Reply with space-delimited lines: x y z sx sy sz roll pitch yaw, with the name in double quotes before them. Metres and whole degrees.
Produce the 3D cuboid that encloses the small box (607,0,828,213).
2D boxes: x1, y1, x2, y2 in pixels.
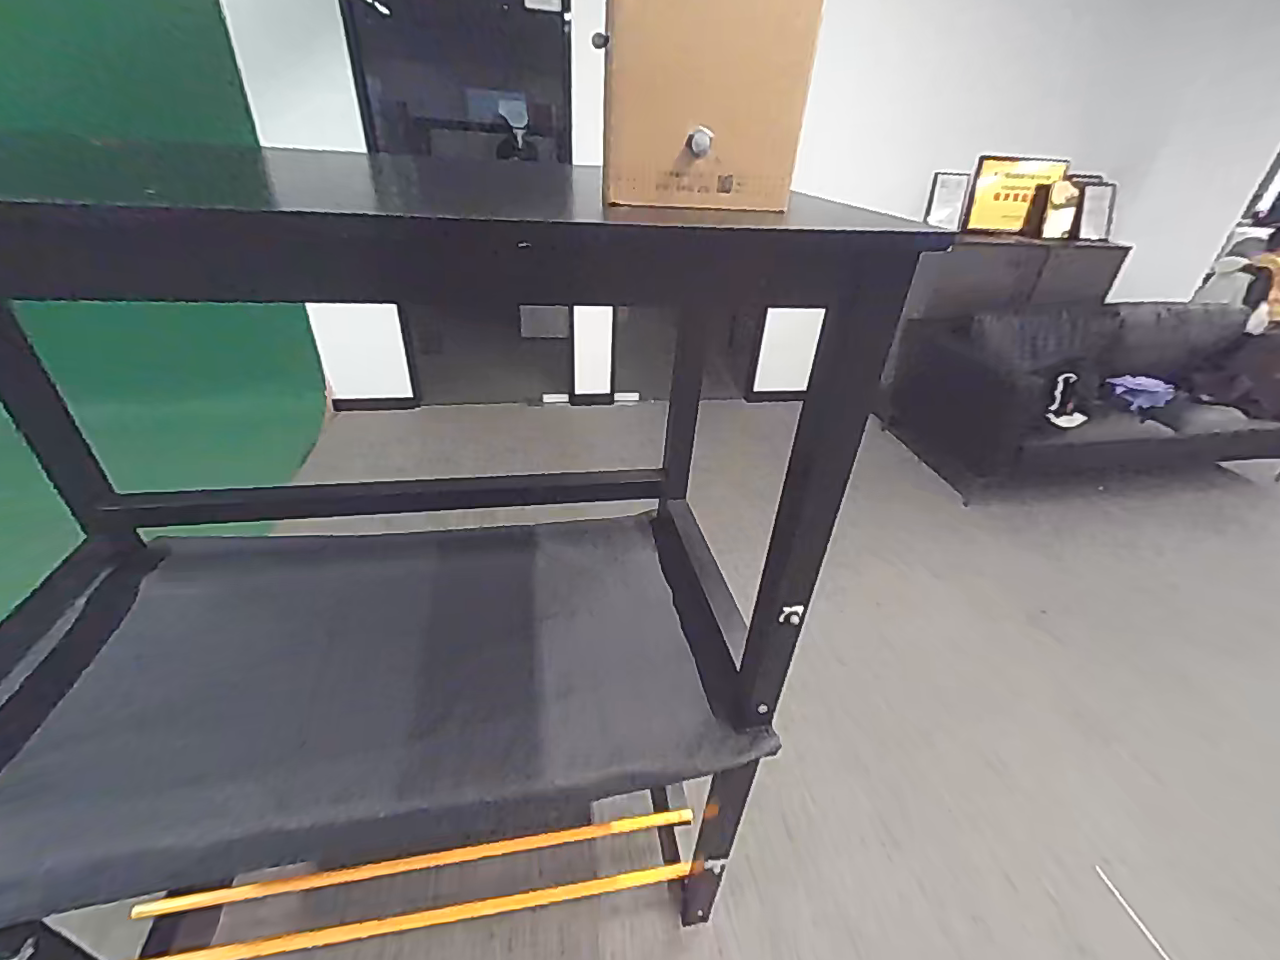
"small box" 0.054 -0.362 0.513 0.168 0.176 0.179 0 34 -6
